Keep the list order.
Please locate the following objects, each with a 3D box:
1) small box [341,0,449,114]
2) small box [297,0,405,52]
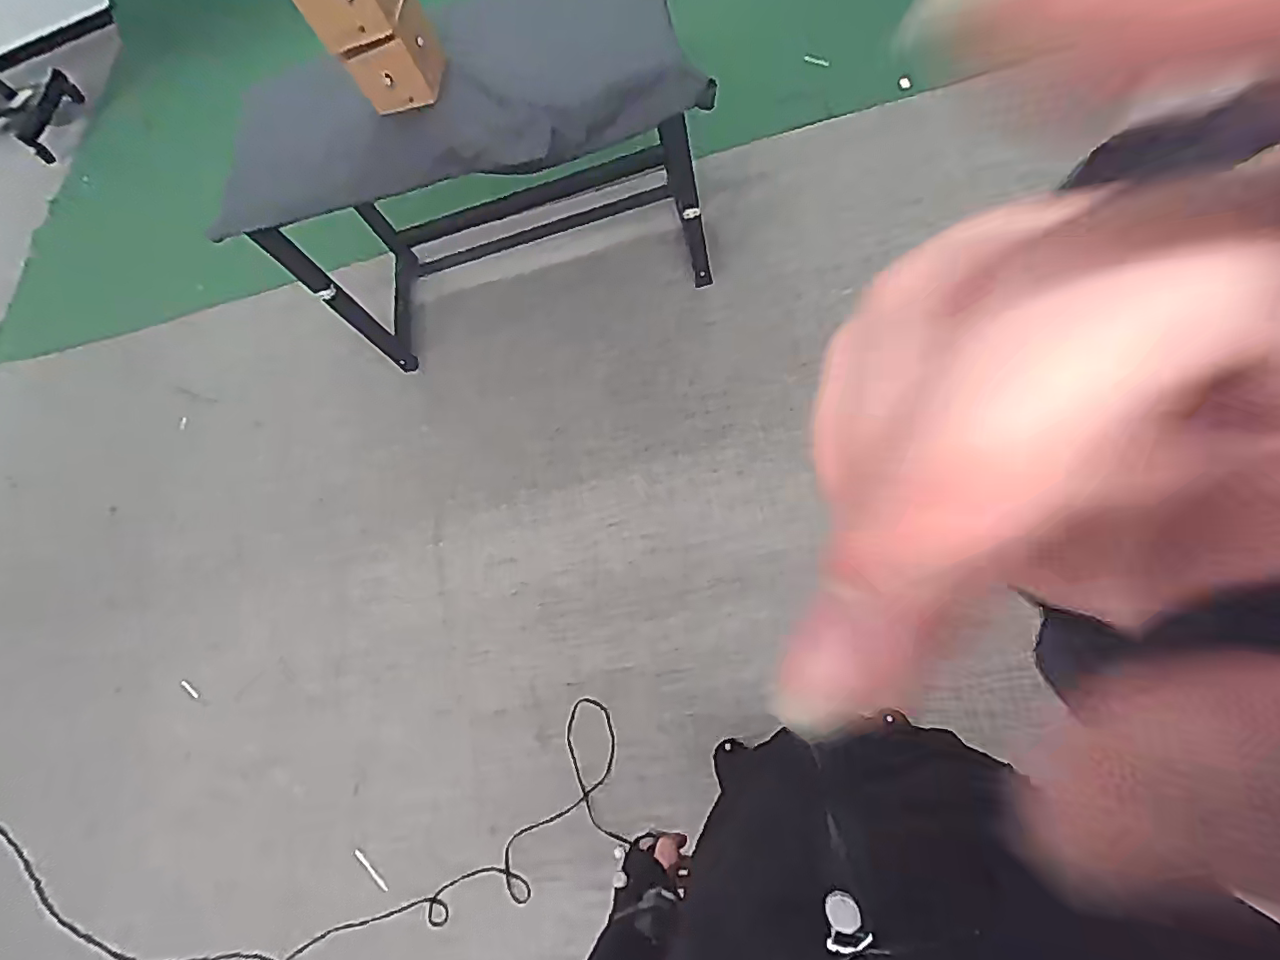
[{"bbox_3d":[-0.594,-1.042,1.336,0.168,0.176,0.179,-3,69,13],"label":"small box"},{"bbox_3d":[-0.639,-1.078,1.182,0.168,0.176,0.179,-8,66,9],"label":"small box"}]
